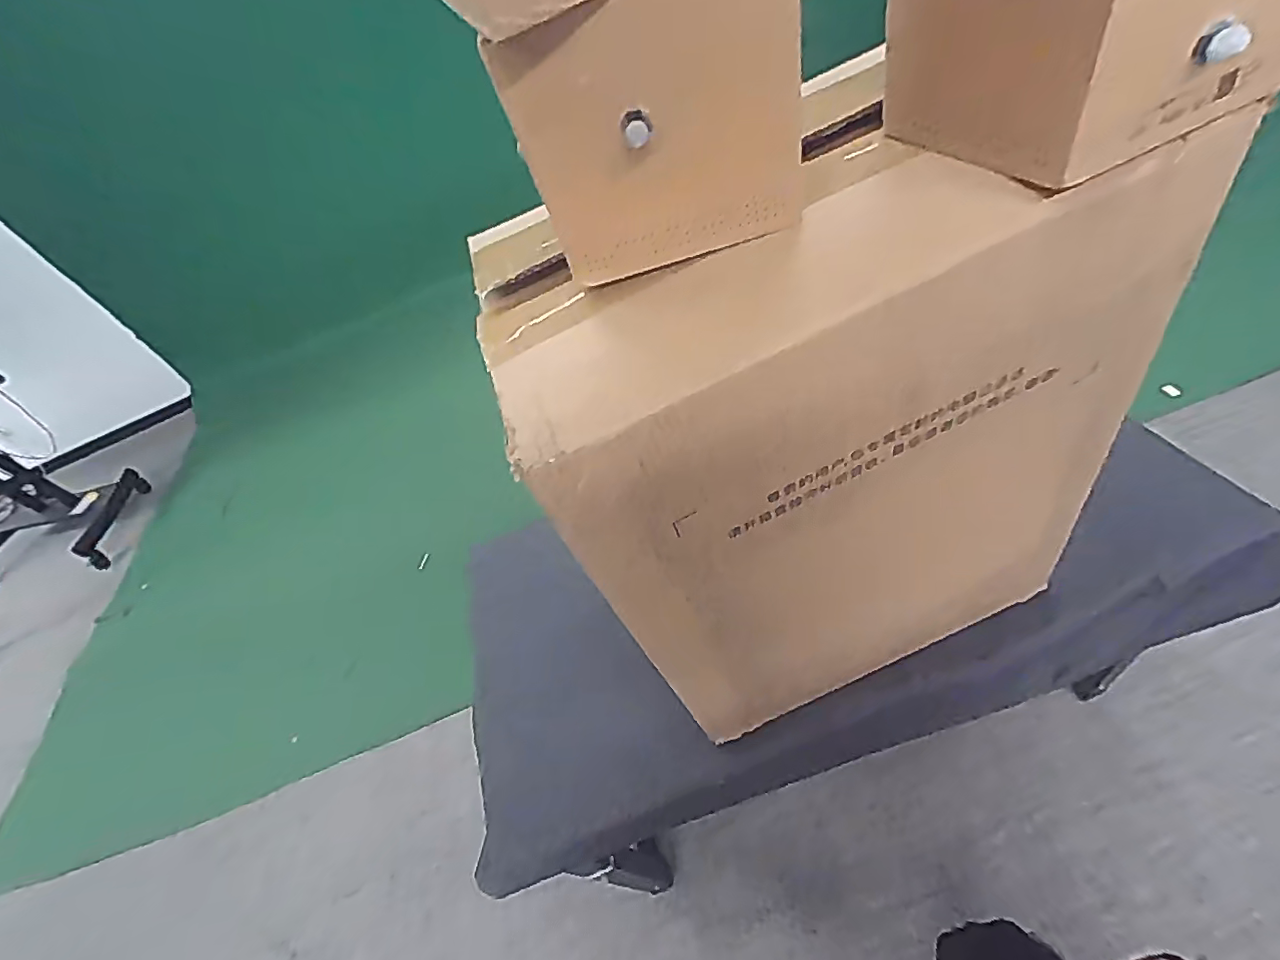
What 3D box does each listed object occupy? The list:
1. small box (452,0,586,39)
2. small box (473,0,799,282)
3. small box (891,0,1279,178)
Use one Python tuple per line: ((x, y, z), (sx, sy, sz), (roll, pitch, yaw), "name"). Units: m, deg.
((-0.053, -0.354, 0.258), (0.179, 0.176, 0.168), (-29, 55, -3), "small box")
((0.005, -0.273, 0.388), (0.179, 0.176, 0.168), (-15, 56, 9), "small box")
((0.276, -0.314, 0.329), (0.168, 0.176, 0.179), (-25, 47, 0), "small box")
